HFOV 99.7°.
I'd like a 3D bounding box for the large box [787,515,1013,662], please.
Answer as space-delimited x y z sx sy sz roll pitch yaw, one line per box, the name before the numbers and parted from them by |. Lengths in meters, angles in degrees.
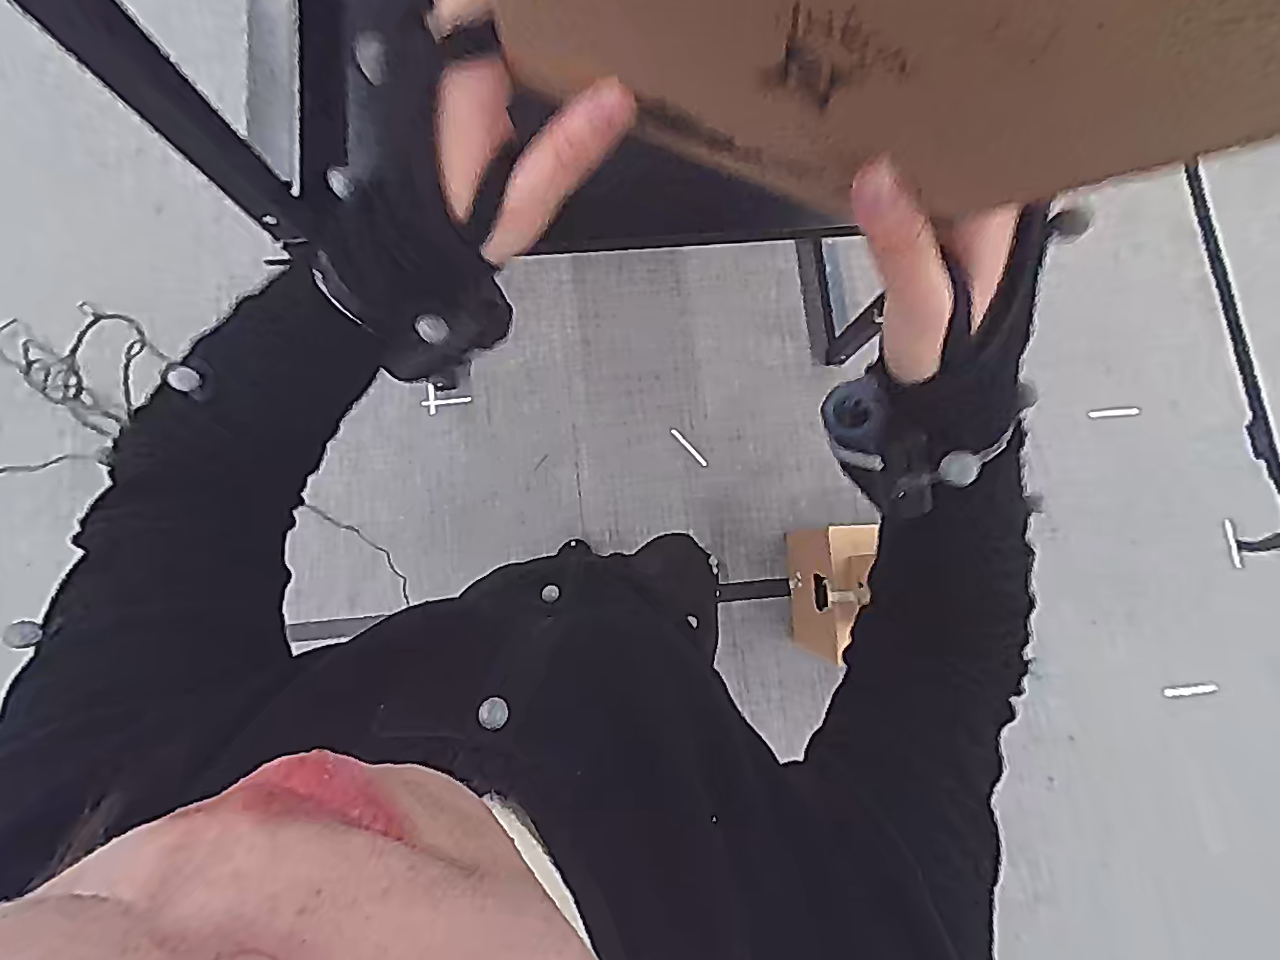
large box | 0.621 0.259 1.359 0.408 0.320 0.320 -1 84 -3
